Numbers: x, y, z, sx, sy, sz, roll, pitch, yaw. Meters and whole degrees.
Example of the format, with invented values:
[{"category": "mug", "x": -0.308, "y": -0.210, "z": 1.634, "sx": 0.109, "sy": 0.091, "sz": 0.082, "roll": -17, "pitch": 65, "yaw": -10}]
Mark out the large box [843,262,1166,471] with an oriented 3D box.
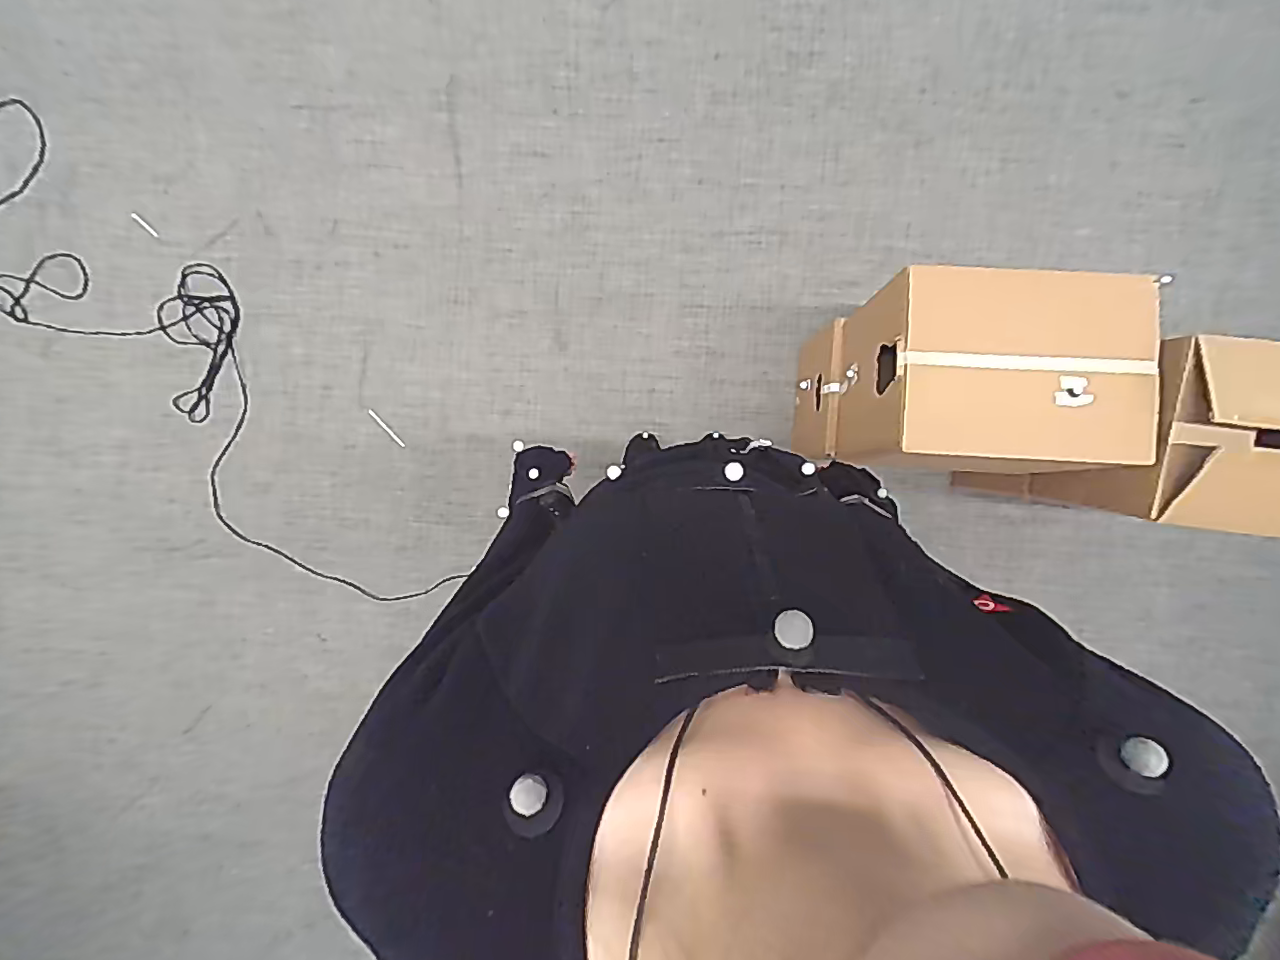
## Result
[{"category": "large box", "x": 0.631, "y": -0.185, "z": 1.009, "sx": 0.408, "sy": 0.320, "sz": 0.320, "roll": 3, "pitch": 89, "yaw": 1}]
